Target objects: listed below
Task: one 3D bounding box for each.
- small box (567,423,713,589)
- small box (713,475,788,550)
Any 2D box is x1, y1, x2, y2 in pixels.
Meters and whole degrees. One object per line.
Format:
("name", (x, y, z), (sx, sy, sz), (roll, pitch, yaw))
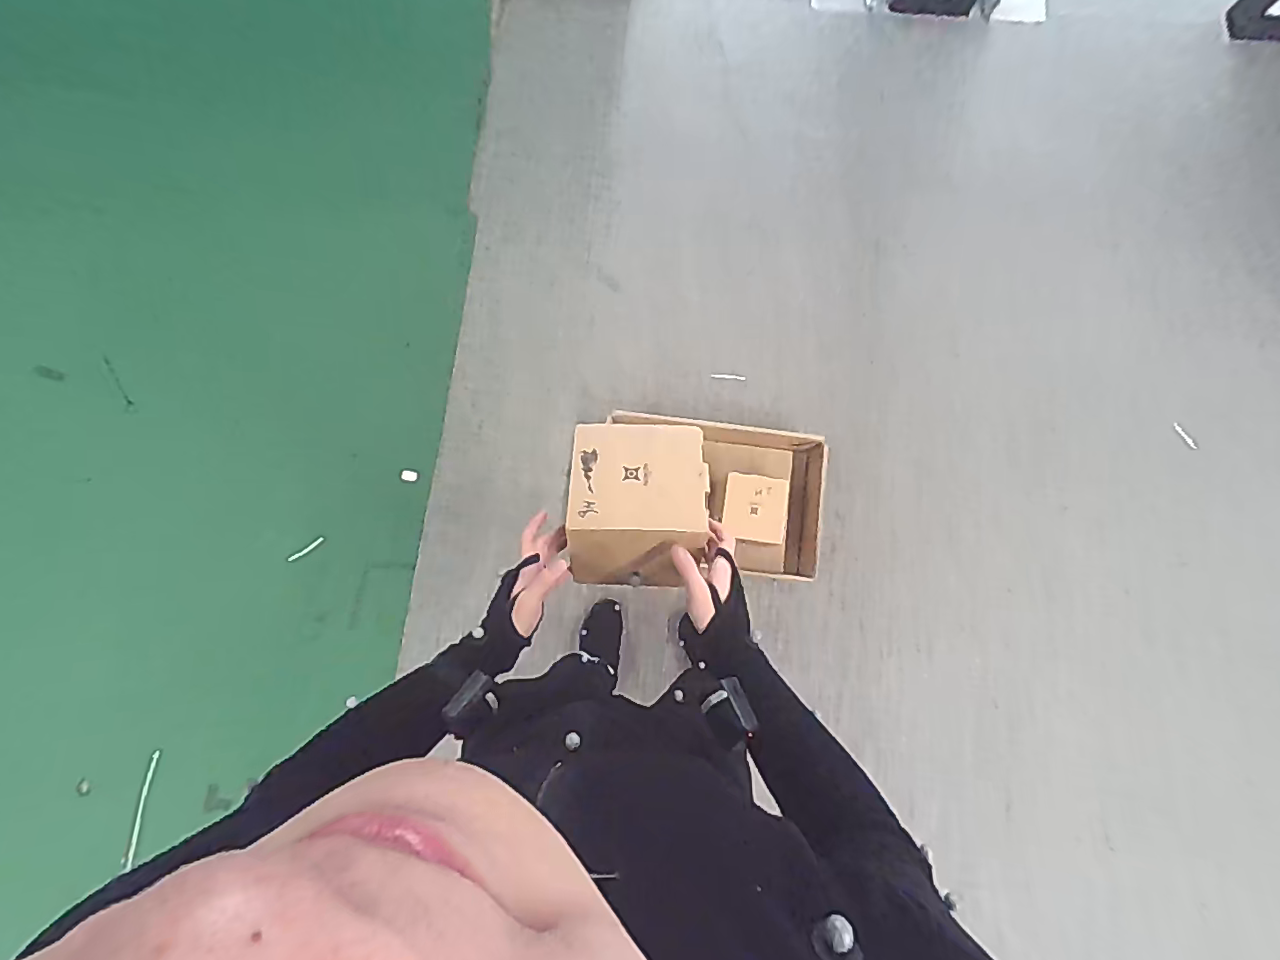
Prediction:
("small box", (-0.004, 0.042, 0.745), (0.179, 0.176, 0.168), (2, 54, -3))
("small box", (0.301, 0.096, 1.498), (0.168, 0.176, 0.179), (9, 80, 2))
